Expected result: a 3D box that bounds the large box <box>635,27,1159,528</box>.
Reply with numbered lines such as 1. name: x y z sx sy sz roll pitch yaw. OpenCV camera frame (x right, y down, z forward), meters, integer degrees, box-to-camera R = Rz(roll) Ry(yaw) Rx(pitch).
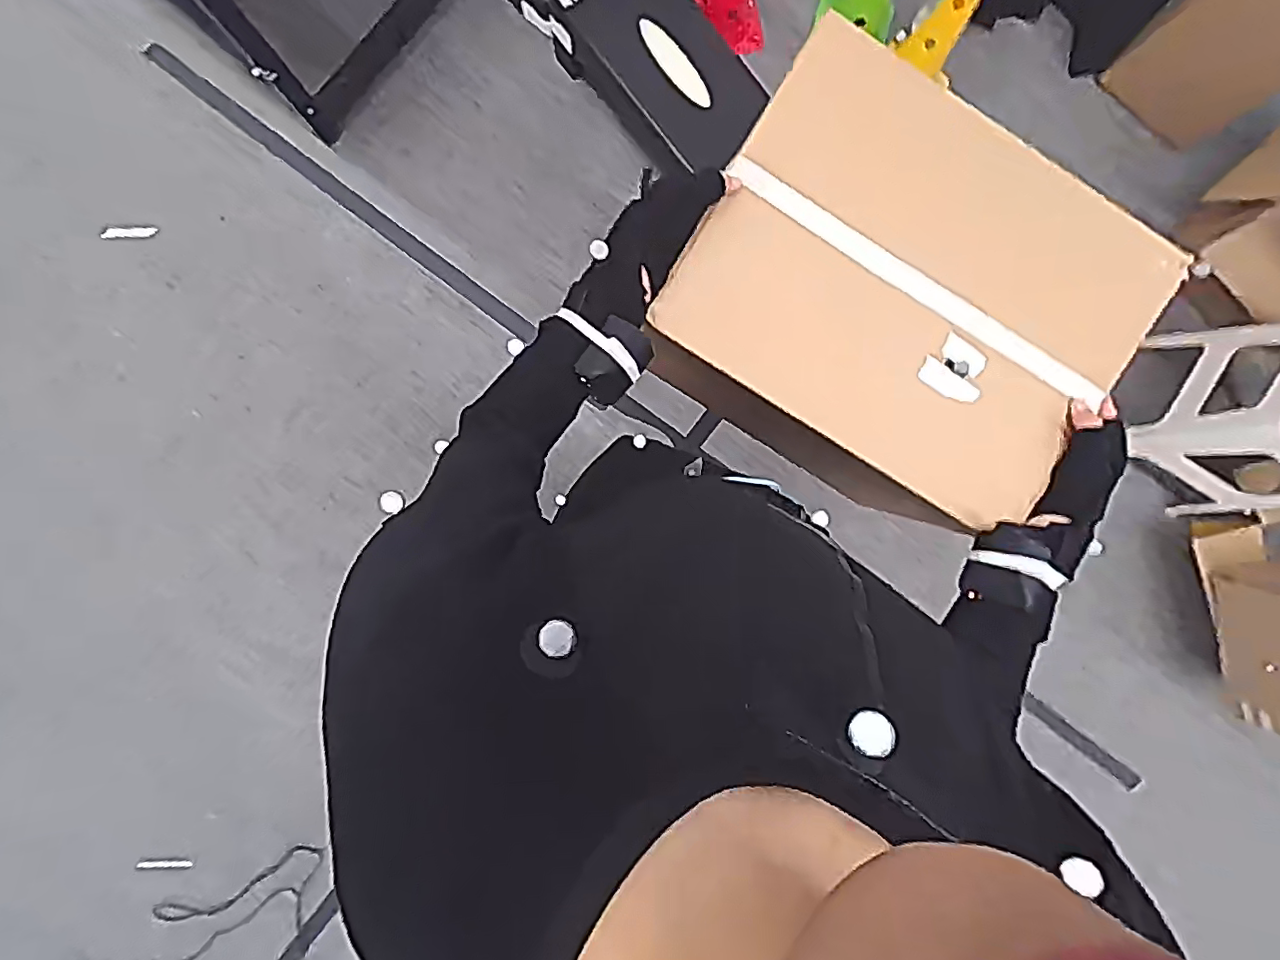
1. large box: 0.241 -0.194 0.654 0.408 0.320 0.320 32 95 -5
